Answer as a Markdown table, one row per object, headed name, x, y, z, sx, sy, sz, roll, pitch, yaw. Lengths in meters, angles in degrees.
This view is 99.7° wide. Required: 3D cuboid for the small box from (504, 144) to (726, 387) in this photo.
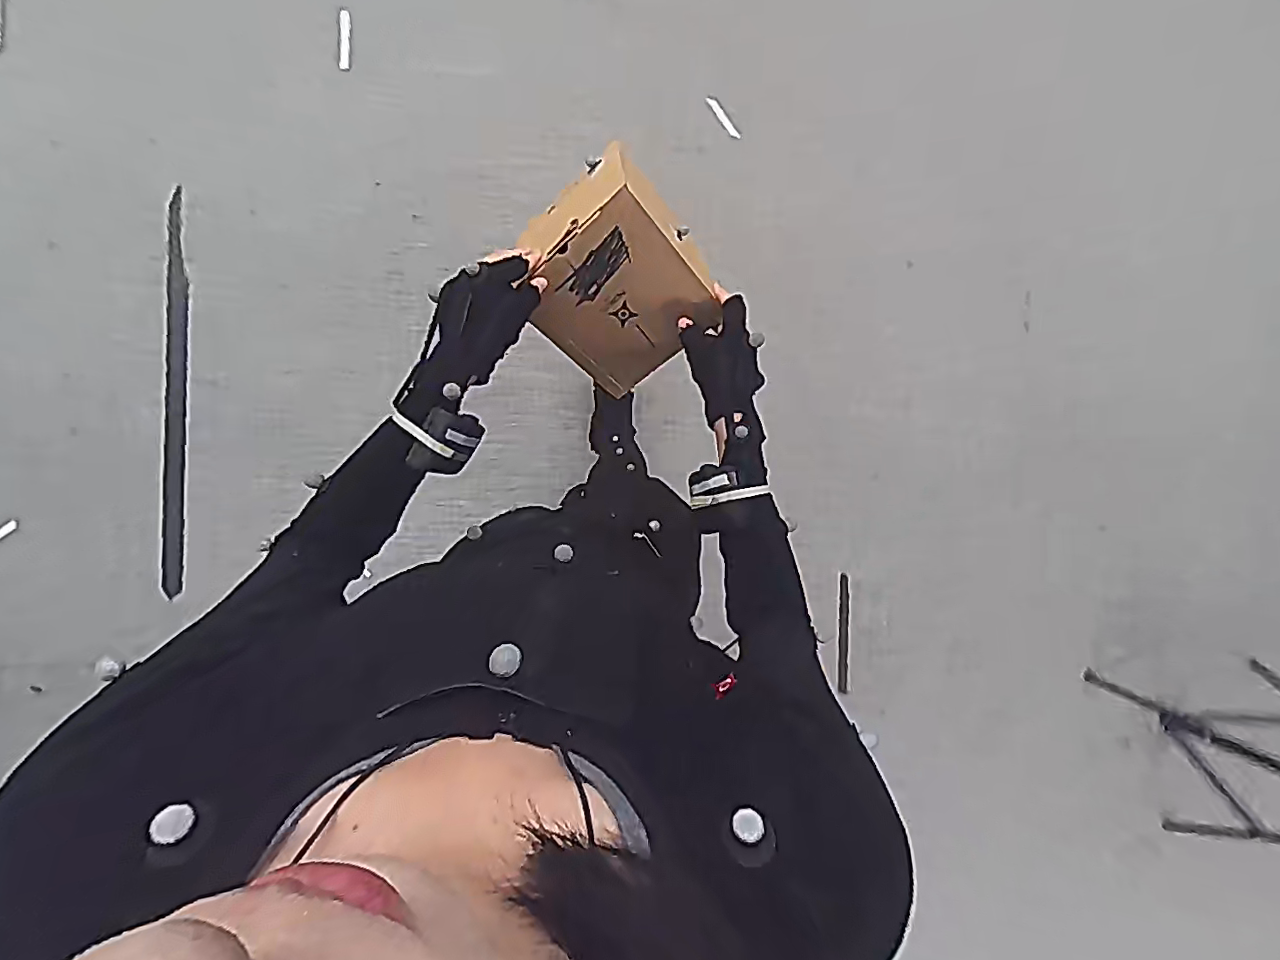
| name | x | y | z | sx | sy | sz | roll | pitch | yaw |
| --- | --- | --- | --- | --- | --- | --- | --- | --- | --- |
| small box | -0.030 | -0.248 | 0.619 | 0.168 | 0.176 | 0.179 | -35 | 128 | 24 |
